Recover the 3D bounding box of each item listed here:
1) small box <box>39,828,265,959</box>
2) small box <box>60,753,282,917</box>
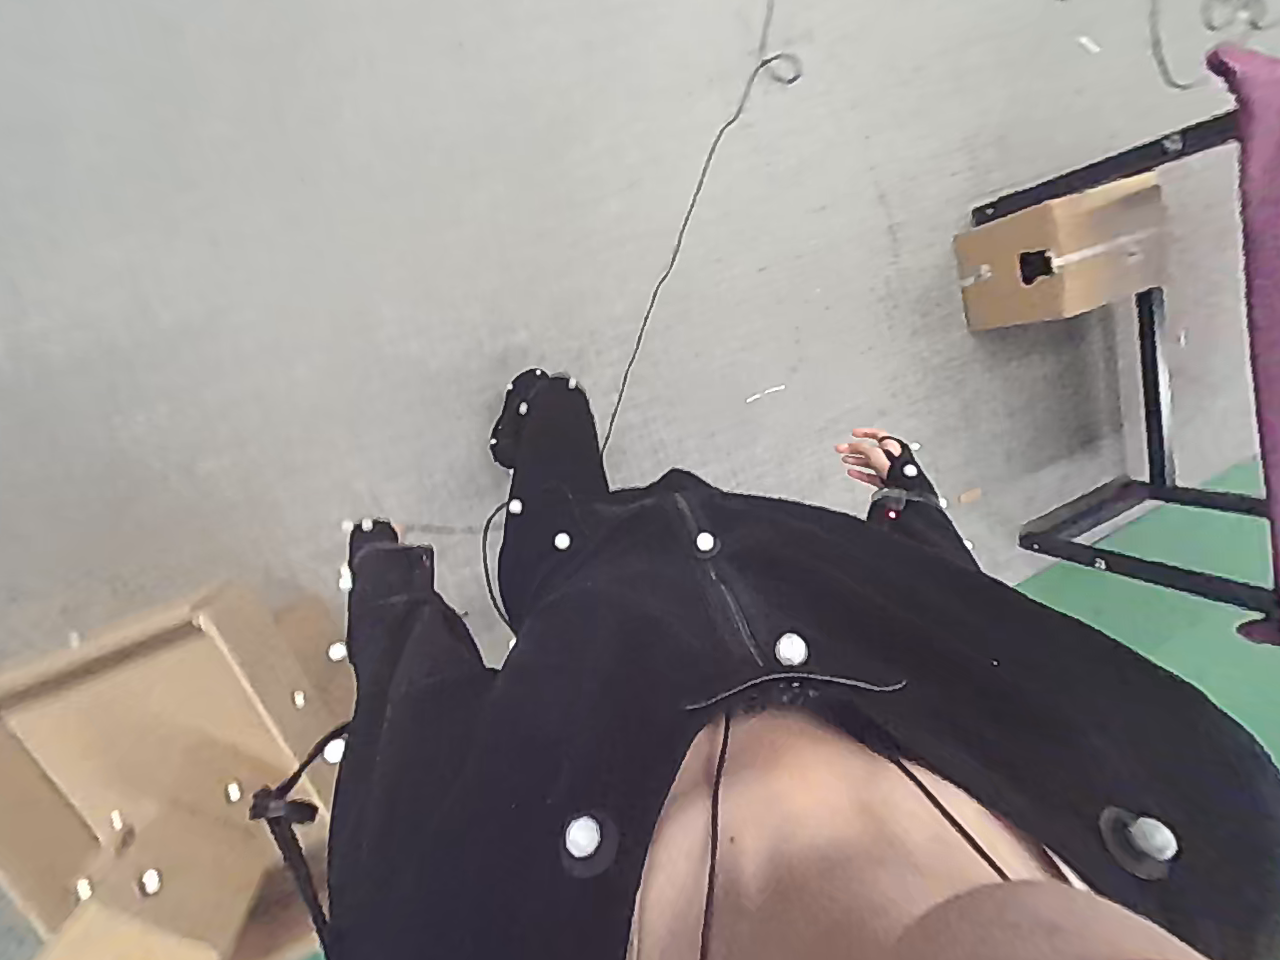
[{"bbox_3d":[-0.653,0.607,0.712,0.179,0.176,0.168,41,86,-17],"label":"small box"},{"bbox_3d":[-0.721,0.577,0.861,0.179,0.176,0.168,39,84,-17],"label":"small box"}]
